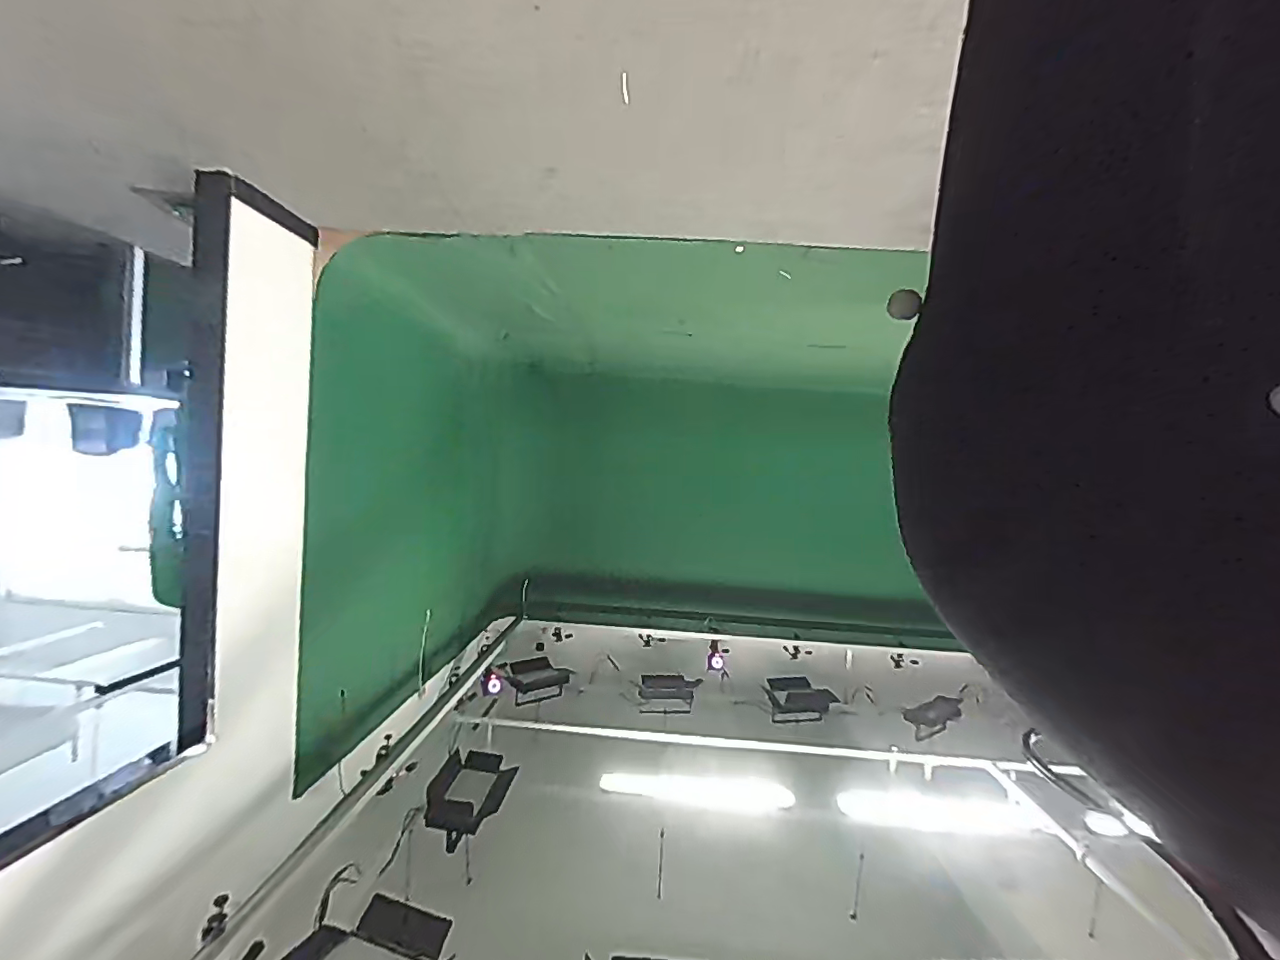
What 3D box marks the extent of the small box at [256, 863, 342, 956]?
[{"bbox_3d":[-1.117,1.388,1.762,0.179,0.176,0.168,-28,156,13],"label":"small box"}]
